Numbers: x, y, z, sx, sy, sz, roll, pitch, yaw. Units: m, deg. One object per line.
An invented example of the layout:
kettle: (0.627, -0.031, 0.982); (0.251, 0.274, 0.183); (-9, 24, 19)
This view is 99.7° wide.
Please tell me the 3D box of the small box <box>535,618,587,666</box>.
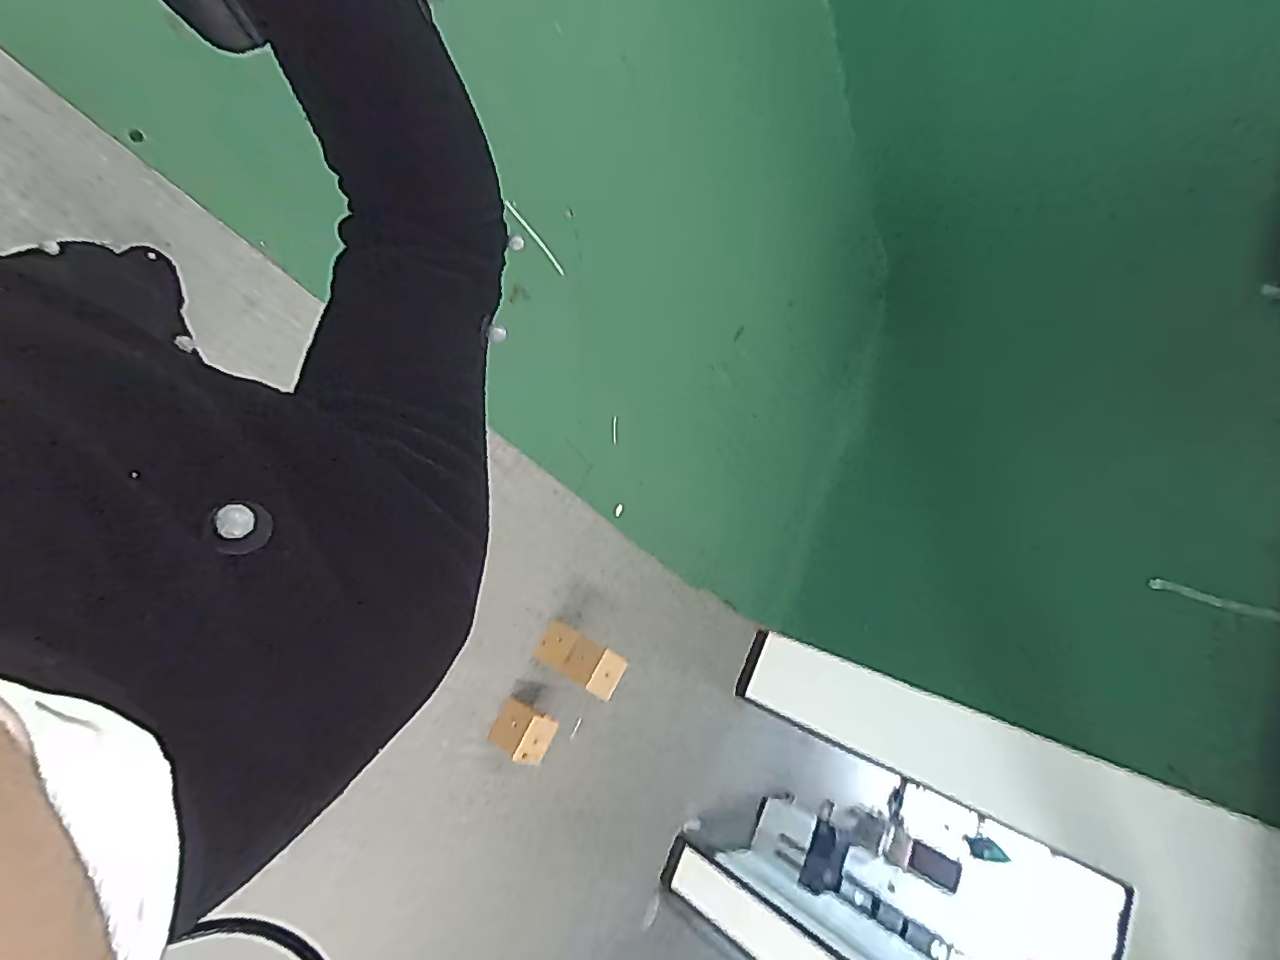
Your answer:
small box: (-0.307, 0.700, 2.272); (0.168, 0.176, 0.179); (-60, 138, -18)

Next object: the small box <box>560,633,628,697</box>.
small box: (-0.187, 0.734, 2.164); (0.168, 0.176, 0.179); (-58, 137, -19)

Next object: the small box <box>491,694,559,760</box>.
small box: (-0.465, 0.987, 2.169); (0.168, 0.176, 0.179); (45, 66, -45)
